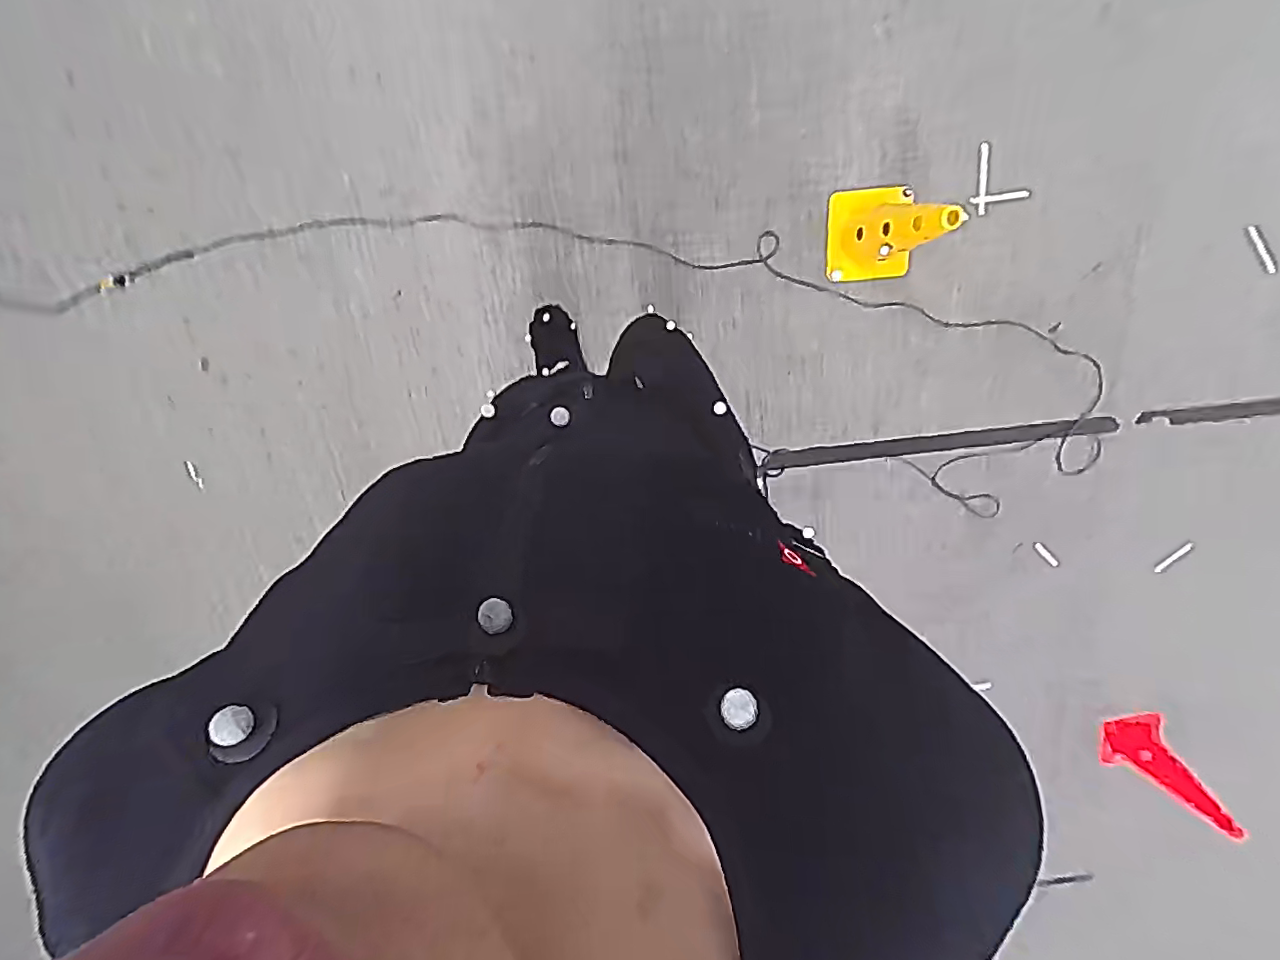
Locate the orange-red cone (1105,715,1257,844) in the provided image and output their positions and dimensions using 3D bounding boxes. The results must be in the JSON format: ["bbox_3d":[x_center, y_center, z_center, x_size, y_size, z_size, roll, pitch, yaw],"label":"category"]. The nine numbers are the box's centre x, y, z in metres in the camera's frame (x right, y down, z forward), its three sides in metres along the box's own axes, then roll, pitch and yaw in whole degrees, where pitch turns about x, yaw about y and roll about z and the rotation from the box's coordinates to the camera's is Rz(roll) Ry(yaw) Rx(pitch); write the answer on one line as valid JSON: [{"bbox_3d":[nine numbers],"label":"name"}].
[{"bbox_3d":[1.698,0.944,1.675,0.199,0.360,0.198,-12,109,1],"label":"orange-red cone"}]
